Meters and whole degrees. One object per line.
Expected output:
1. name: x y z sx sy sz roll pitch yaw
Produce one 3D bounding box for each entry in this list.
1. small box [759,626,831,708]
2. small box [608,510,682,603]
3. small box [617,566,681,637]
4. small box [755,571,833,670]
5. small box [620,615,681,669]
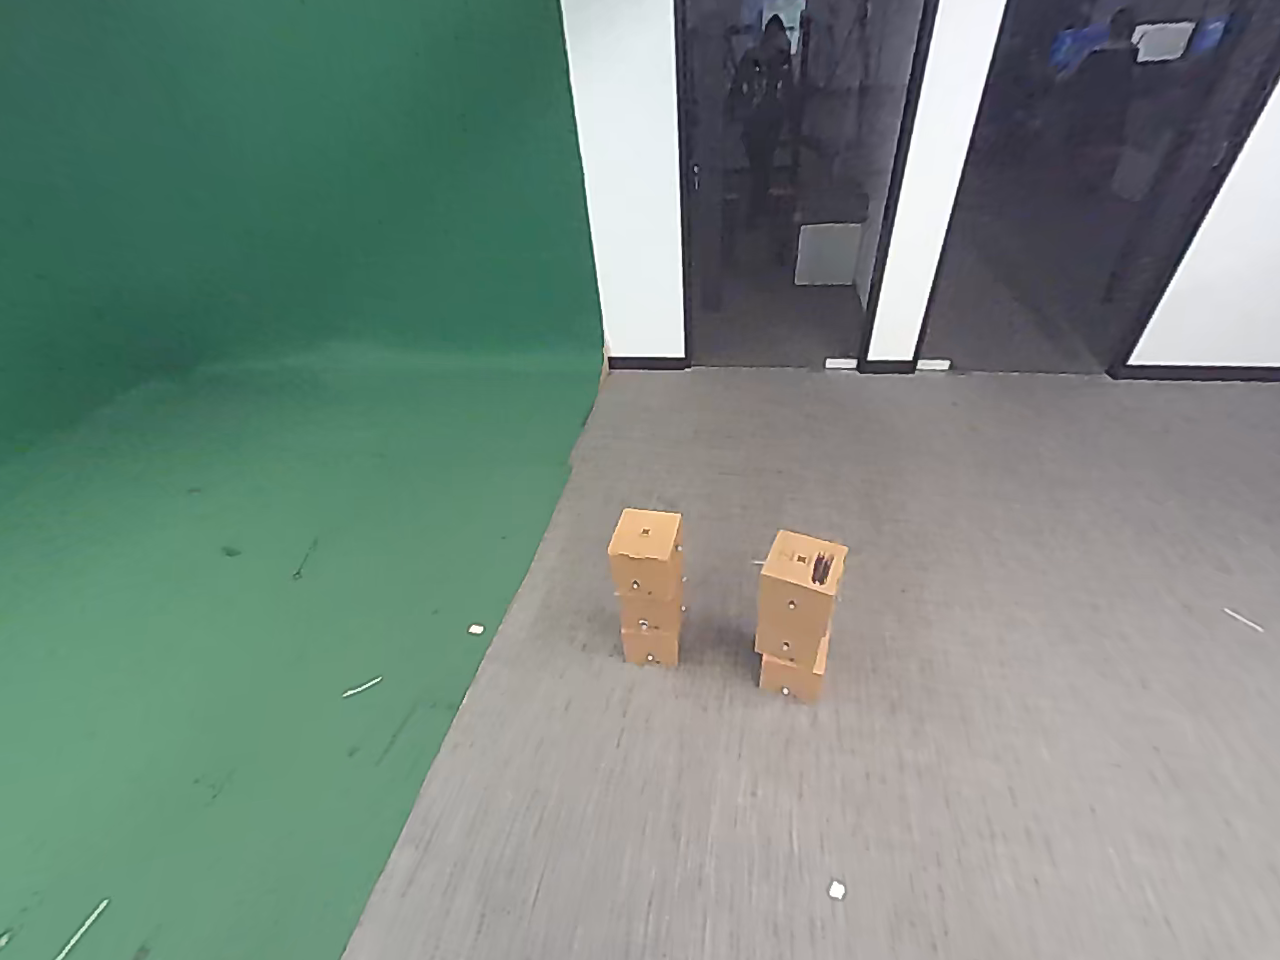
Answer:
1. small box: 0.444 0.520 1.560 0.168 0.176 0.179 10 42 19
2. small box: 0.020 0.208 1.478 0.168 0.176 0.179 6 40 14
3. small box: 0.032 0.332 1.583 0.168 0.176 0.179 1 39 9
4. small box: 0.417 0.384 1.472 0.168 0.176 0.179 13 43 22
5. small box: 0.038 0.461 1.681 0.168 0.176 0.179 1 39 9
